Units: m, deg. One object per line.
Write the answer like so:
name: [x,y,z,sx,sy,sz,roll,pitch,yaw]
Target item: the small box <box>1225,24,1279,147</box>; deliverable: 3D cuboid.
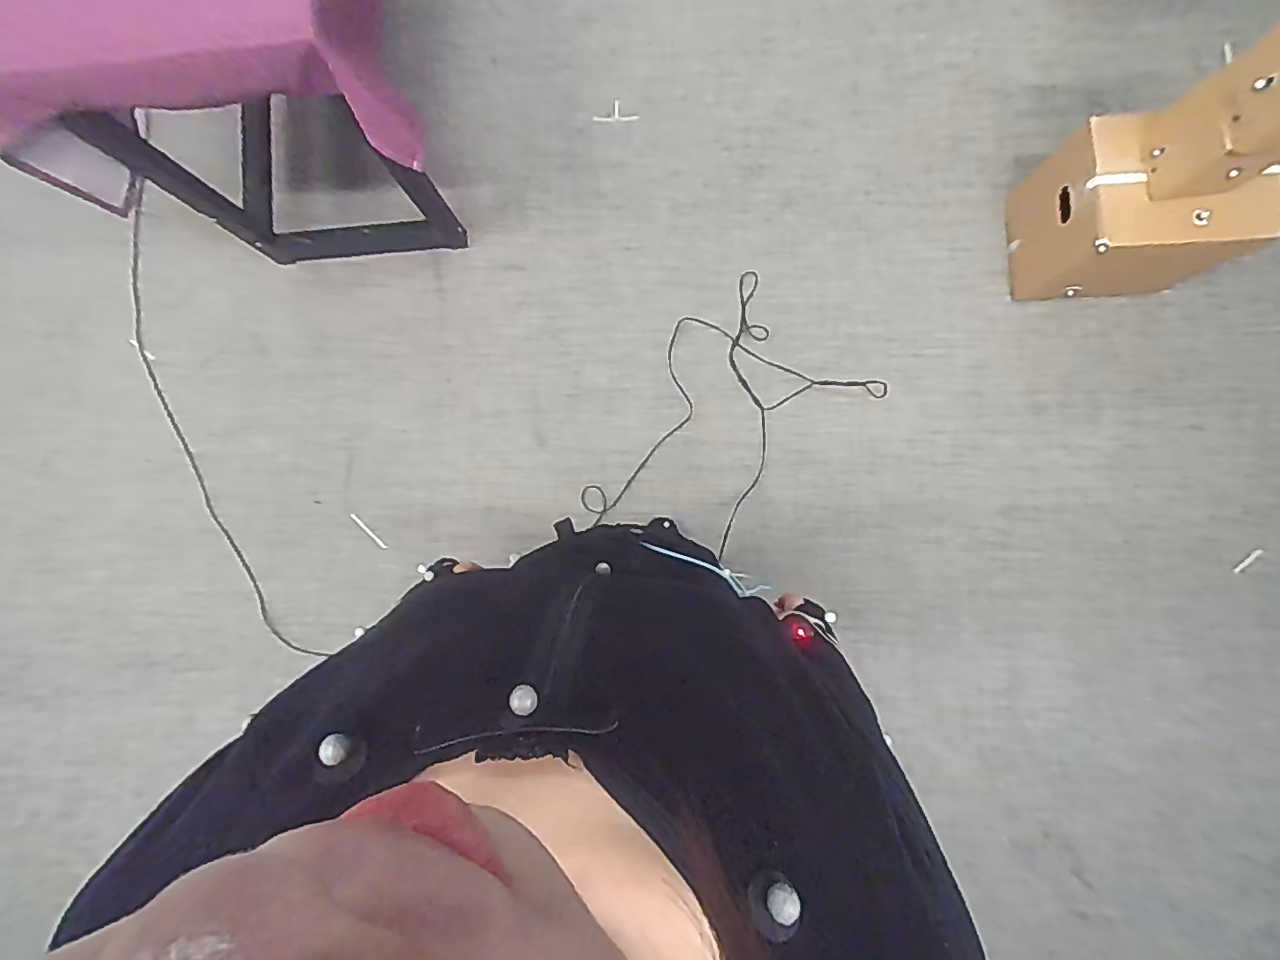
small box: [1.210,-0.728,0.959,0.179,0.176,0.168,-10,86,2]
